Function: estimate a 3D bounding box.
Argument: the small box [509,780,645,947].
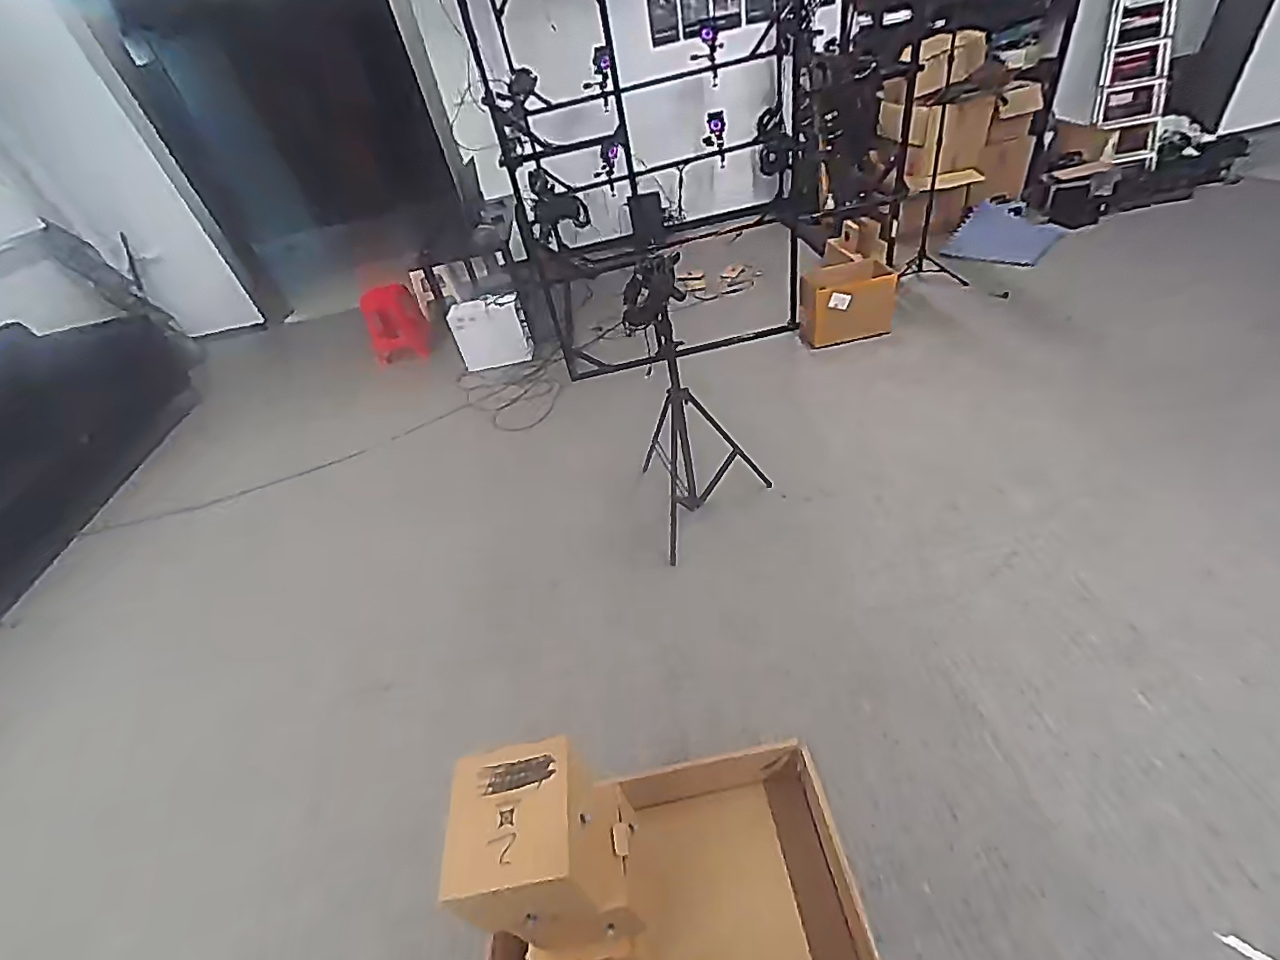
[{"bbox_3d":[-0.092,0.610,0.860,0.179,0.176,0.168,-13,39,2],"label":"small box"}]

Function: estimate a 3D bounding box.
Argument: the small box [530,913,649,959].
[{"bbox_3d":[-0.090,0.752,0.948,0.168,0.176,0.179,-16,40,-1],"label":"small box"}]
